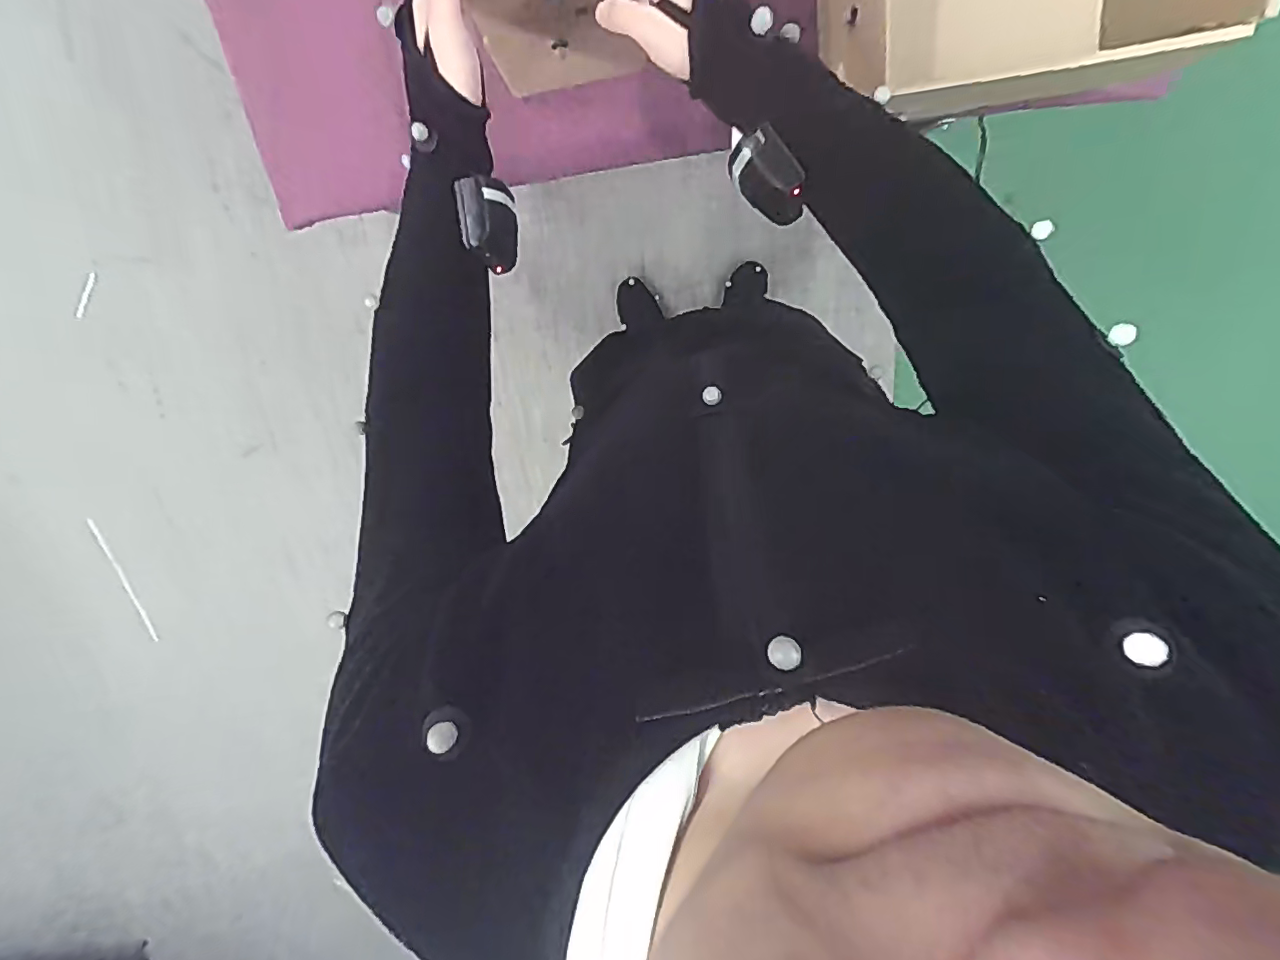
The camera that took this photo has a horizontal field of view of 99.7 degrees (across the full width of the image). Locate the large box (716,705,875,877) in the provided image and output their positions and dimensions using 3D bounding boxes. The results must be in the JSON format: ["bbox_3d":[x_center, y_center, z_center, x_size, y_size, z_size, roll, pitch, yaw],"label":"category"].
[{"bbox_3d":[0.539,1.112,1.950,0.408,0.320,0.320,-38,107,10],"label":"large box"}]

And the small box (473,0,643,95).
[{"bbox_3d":[-0.096,-0.566,0.607,0.179,0.176,0.168,-11,109,2],"label":"small box"}]

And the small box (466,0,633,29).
[{"bbox_3d":[-0.093,-0.518,0.451,0.168,0.176,0.179,-10,110,2],"label":"small box"}]
